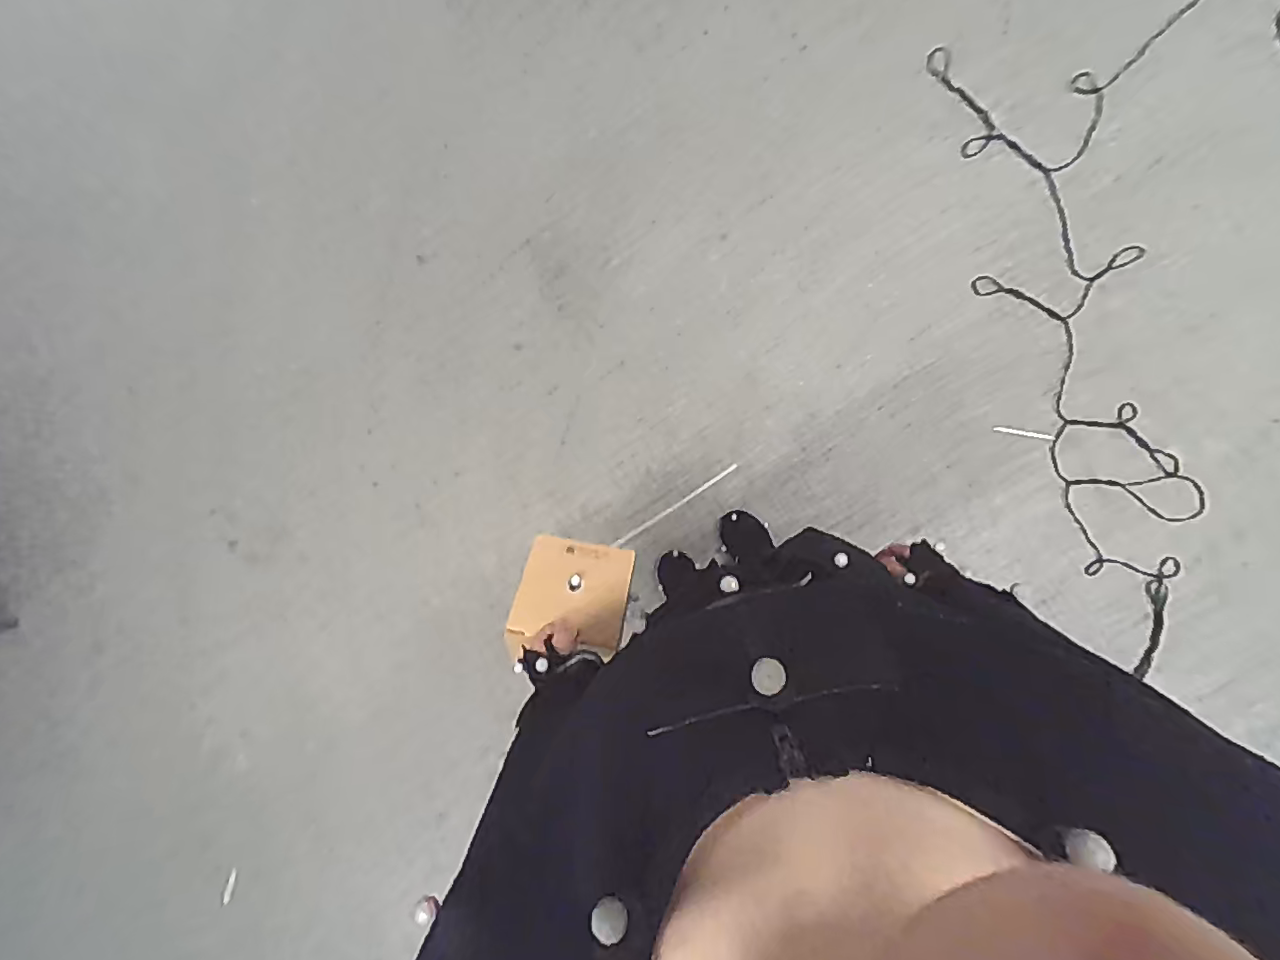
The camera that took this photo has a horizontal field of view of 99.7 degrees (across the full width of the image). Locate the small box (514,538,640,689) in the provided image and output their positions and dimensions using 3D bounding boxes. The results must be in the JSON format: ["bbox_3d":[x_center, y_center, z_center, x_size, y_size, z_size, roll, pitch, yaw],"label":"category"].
[{"bbox_3d":[-0.095,0.215,0.881,0.168,0.179,0.176,9,50,3],"label":"small box"}]
